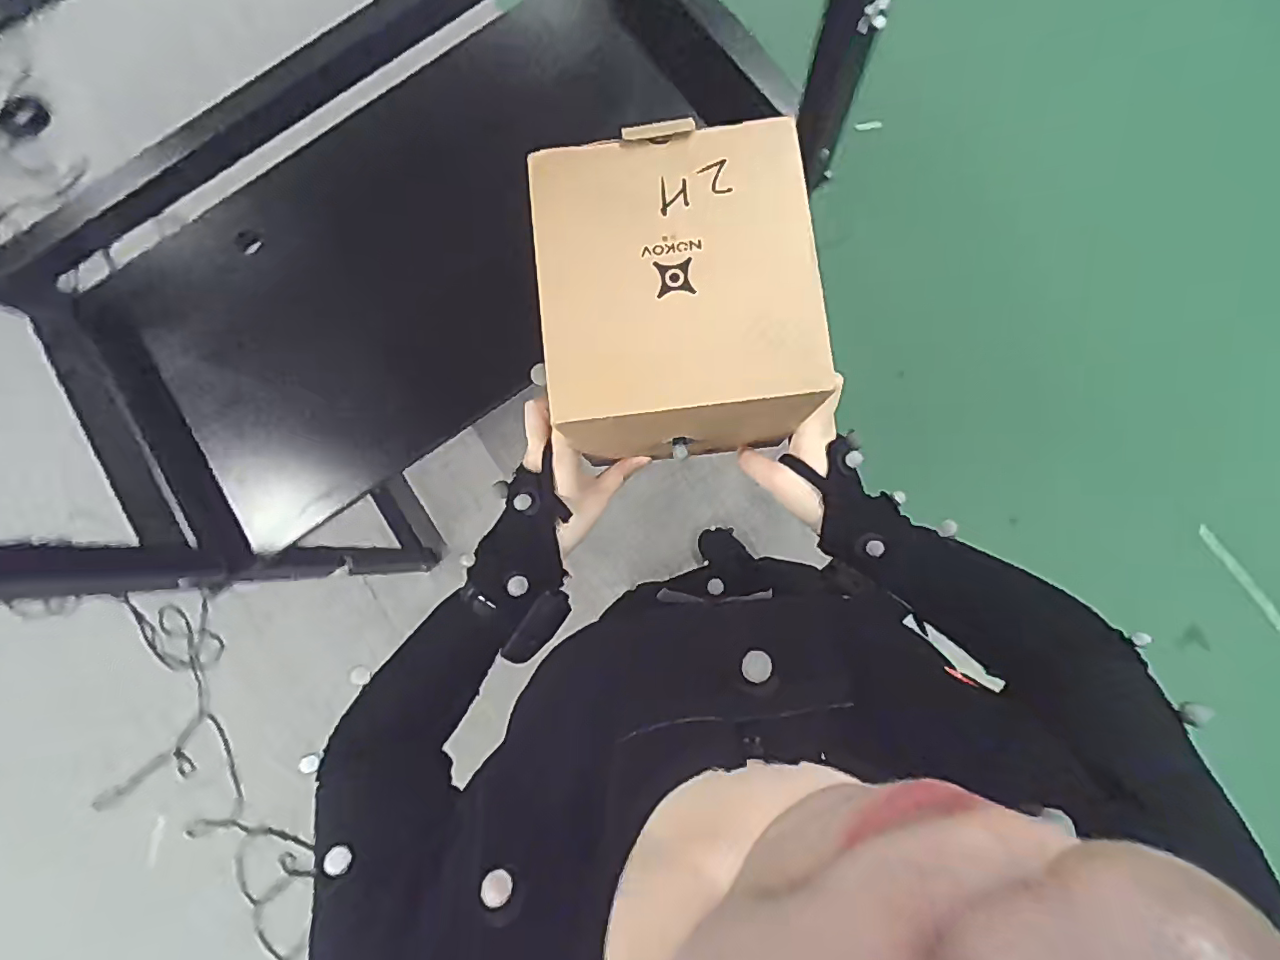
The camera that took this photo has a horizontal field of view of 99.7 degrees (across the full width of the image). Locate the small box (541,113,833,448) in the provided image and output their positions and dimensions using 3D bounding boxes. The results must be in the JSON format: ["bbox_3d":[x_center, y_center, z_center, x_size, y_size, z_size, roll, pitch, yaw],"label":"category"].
[{"bbox_3d":[0.030,-0.123,0.403,0.168,0.176,0.179,-5,83,3],"label":"small box"}]
